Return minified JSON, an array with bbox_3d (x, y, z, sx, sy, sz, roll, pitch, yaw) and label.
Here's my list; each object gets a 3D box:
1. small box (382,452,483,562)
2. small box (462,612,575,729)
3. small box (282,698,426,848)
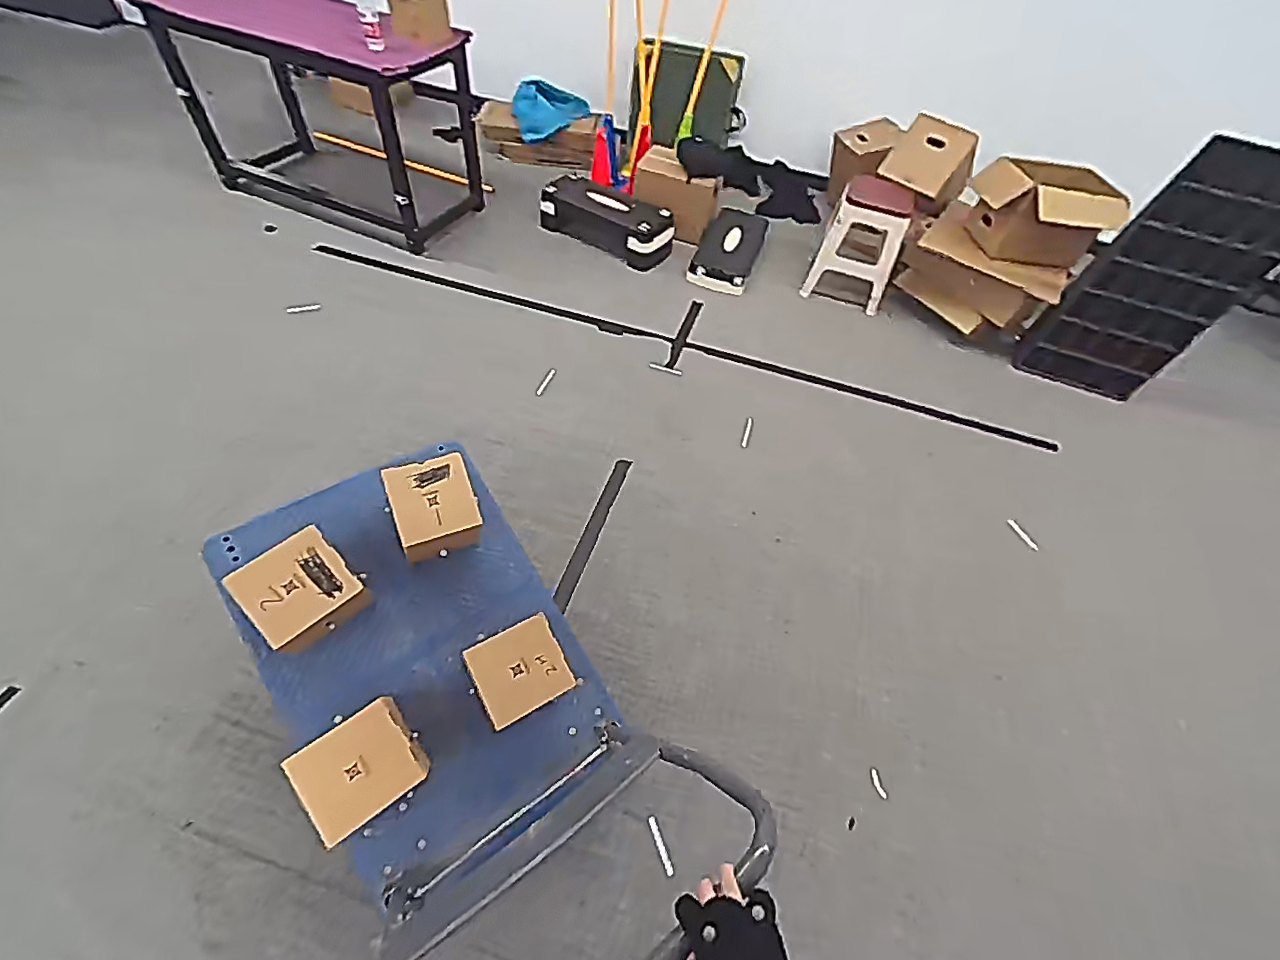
[{"bbox_3d":[-0.462,0.064,1.204,0.168,0.176,0.179,-17,77,-24],"label":"small box"},{"bbox_3d":[-0.262,0.401,1.142,0.179,0.176,0.168,-23,79,-25],"label":"small box"},{"bbox_3d":[-0.517,0.530,1.003,0.179,0.176,0.168,-31,82,-28],"label":"small box"}]
